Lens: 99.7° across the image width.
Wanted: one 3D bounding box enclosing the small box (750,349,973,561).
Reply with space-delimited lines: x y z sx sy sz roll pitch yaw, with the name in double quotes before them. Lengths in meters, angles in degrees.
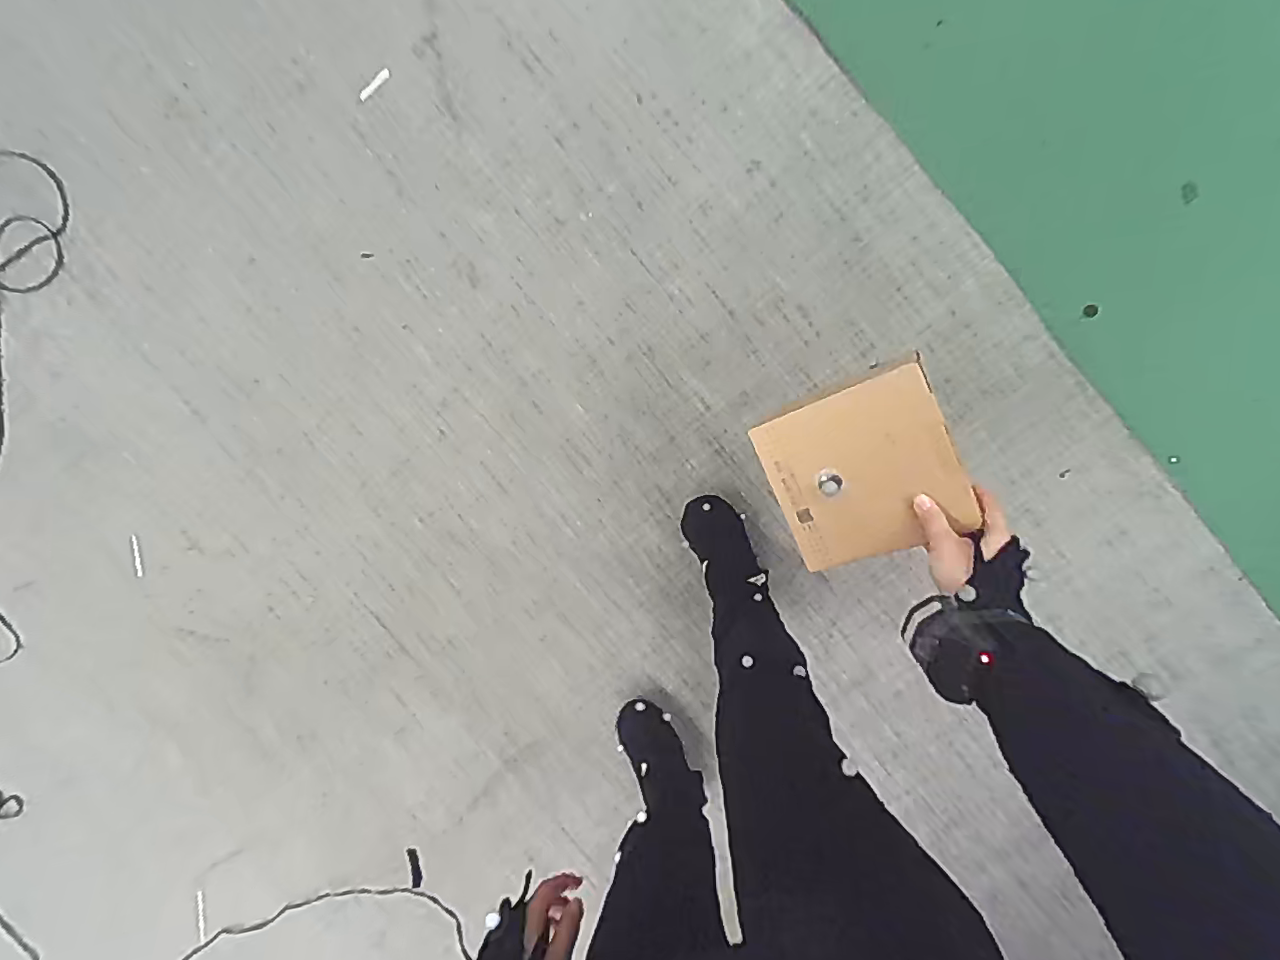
"small box" 0.241 -0.031 0.600 0.176 0.179 0.168 -24 94 31
